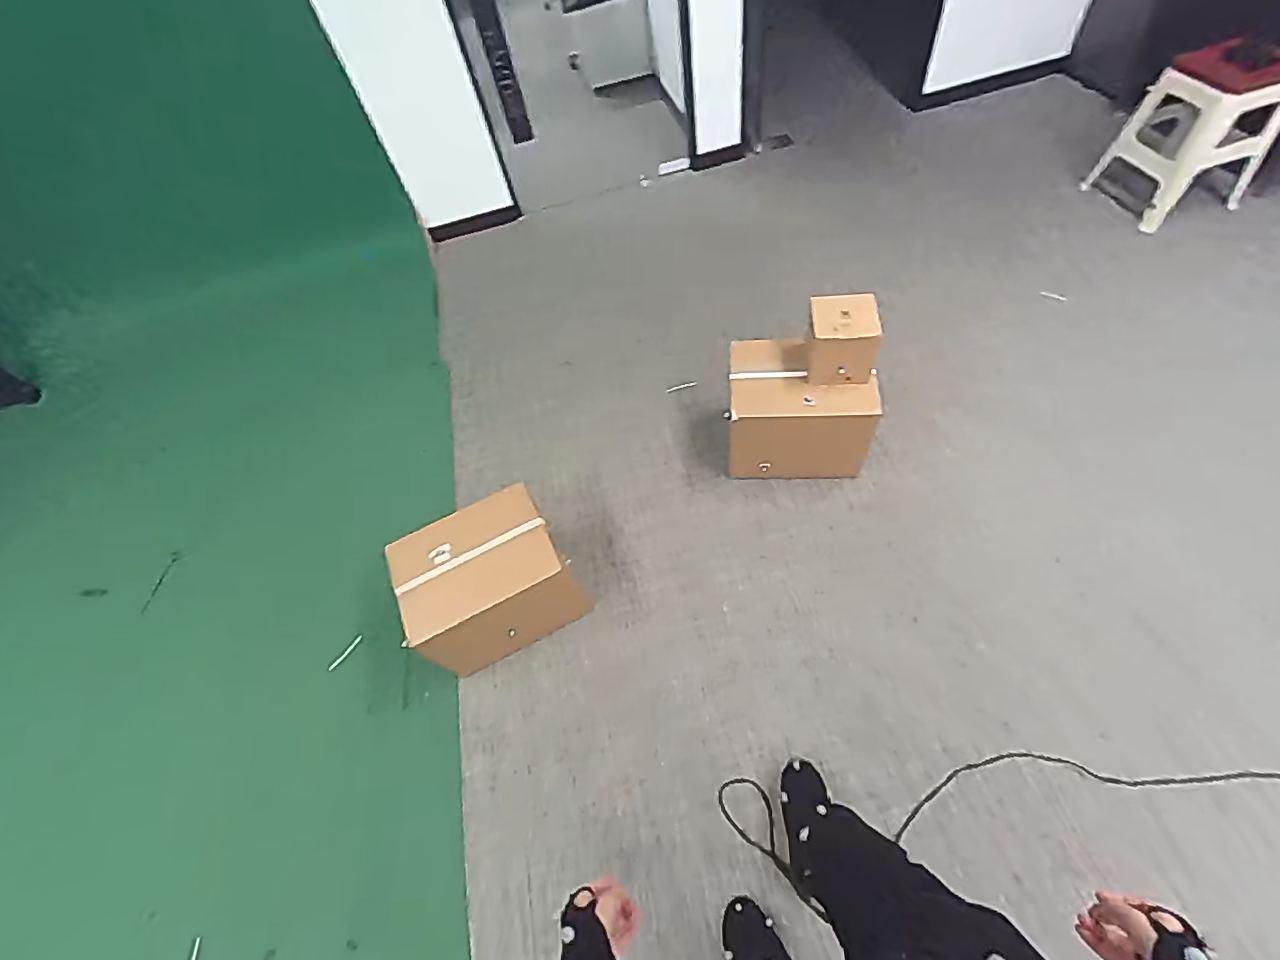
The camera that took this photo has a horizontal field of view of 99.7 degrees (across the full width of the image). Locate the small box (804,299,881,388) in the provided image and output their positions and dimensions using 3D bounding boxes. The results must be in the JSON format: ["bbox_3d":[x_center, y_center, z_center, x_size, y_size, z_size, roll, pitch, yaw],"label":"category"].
[{"bbox_3d":[0.551,-0.375,1.494,0.168,0.176,0.179,0,55,10],"label":"small box"}]

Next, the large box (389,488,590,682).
[{"bbox_3d":[-0.404,0.296,1.503,0.408,0.320,0.320,-27,55,-7],"label":"large box"}]
